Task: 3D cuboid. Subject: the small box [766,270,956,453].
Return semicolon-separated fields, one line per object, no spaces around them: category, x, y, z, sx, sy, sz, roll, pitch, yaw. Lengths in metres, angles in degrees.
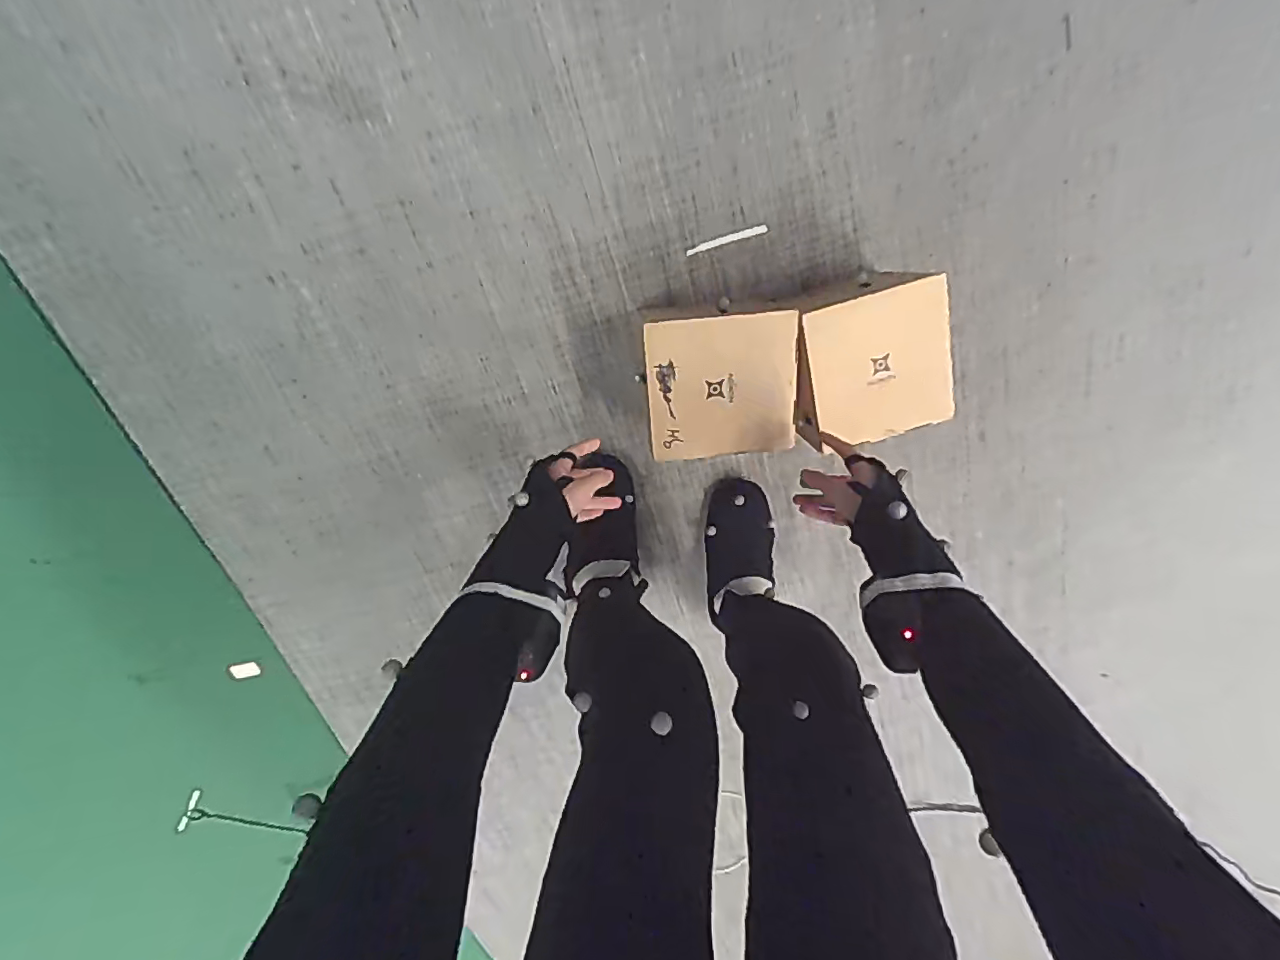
small box;0.274;-0.159;0.697;0.168;0.176;0.179;-16;113;3
